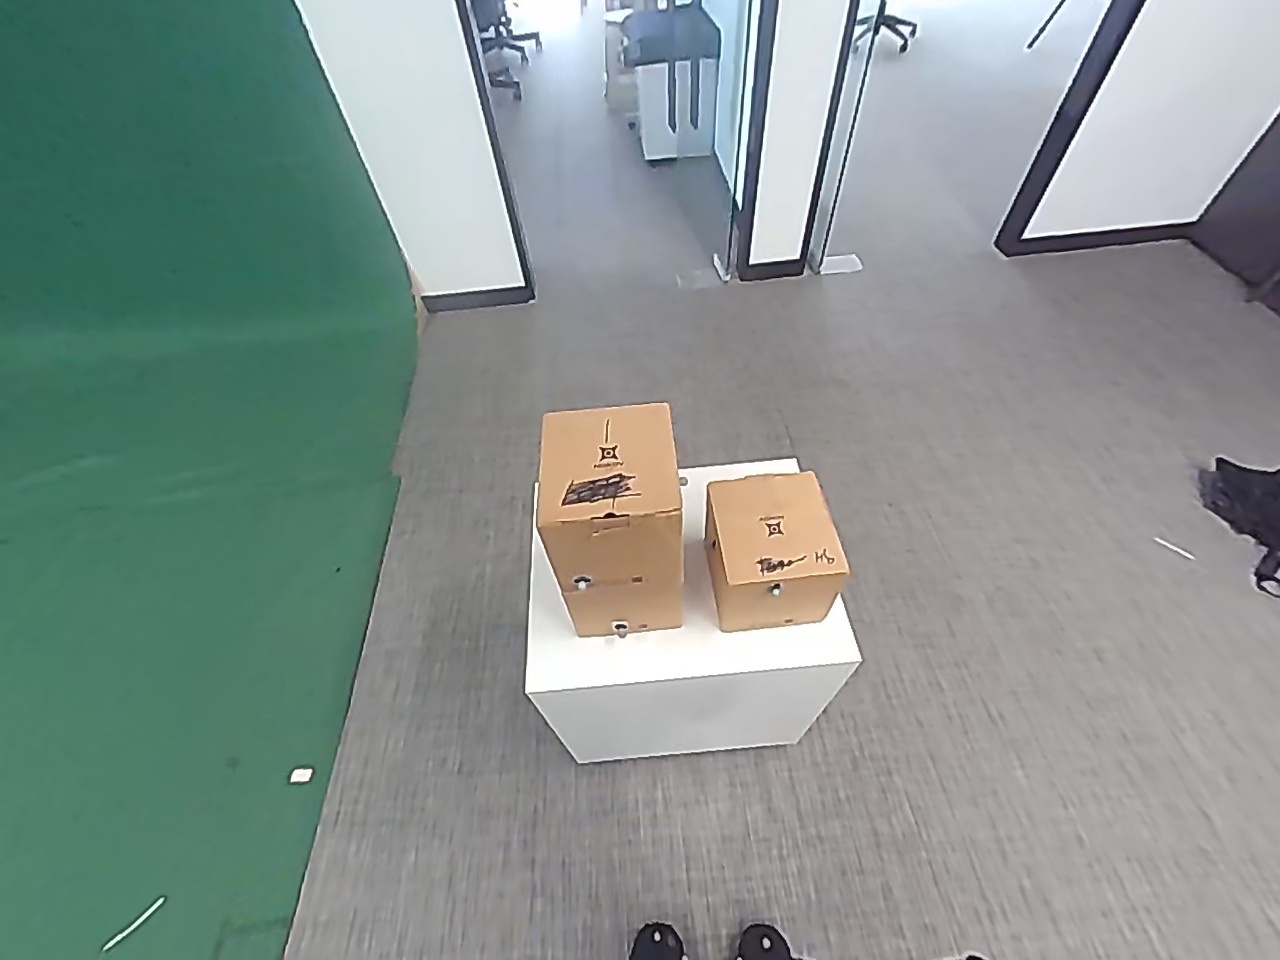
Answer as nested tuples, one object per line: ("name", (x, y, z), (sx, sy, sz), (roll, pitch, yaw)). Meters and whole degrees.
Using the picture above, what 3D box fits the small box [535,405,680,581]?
("small box", (-0.036, 0.025, 0.720), (0.168, 0.176, 0.179), (-4, 51, 1))

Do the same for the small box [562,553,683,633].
("small box", (-0.028, 0.116, 0.837), (0.168, 0.176, 0.179), (-7, 53, -1))

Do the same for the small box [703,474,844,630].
("small box", (0.192, 0.114, 0.841), (0.168, 0.176, 0.179), (-5, 51, 0))
